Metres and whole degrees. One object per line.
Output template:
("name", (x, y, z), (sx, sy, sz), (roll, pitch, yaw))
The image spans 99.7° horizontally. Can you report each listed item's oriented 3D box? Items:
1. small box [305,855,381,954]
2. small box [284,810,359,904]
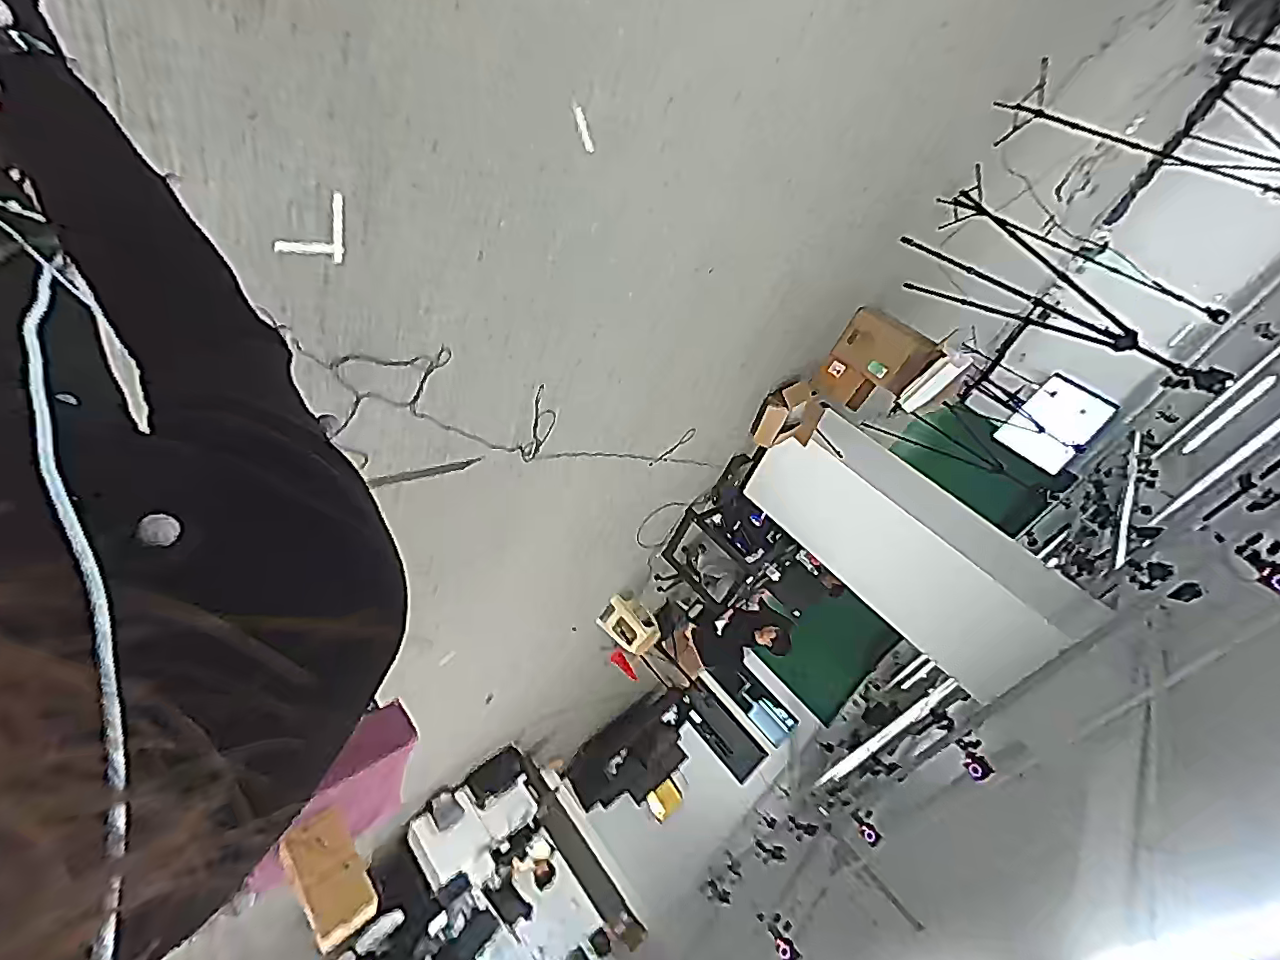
("small box", (-0.953, 1.351, 1.732), (0.168, 0.176, 0.179), (-19, 144, -44))
("small box", (-1.060, 1.240, 1.793), (0.168, 0.176, 0.179), (-15, 141, -47))
